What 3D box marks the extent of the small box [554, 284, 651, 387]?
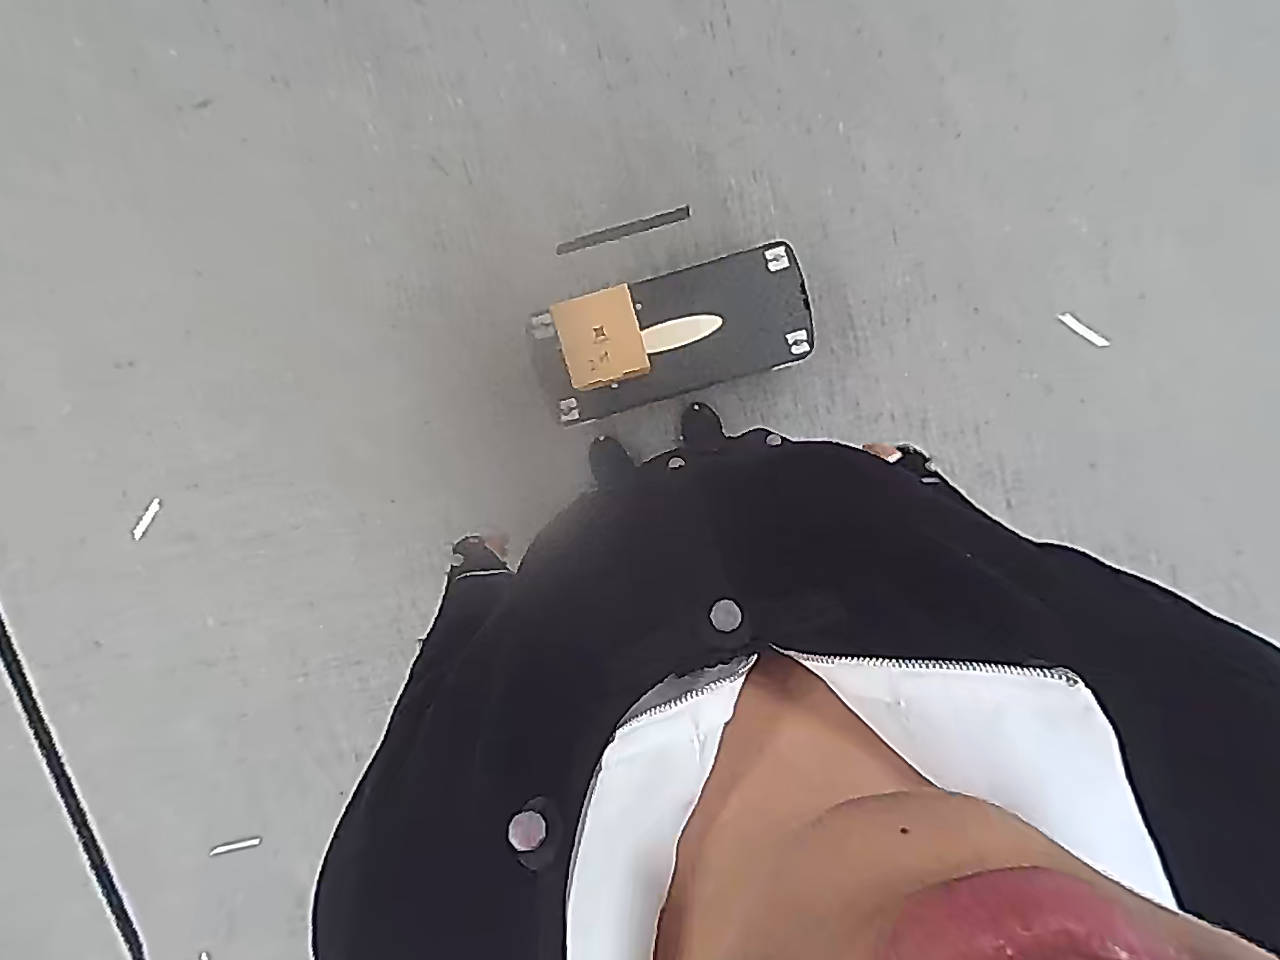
[{"bbox_3d":[-0.080,-0.302,1.176,0.168,0.176,0.179,-16,97,2],"label":"small box"}]
